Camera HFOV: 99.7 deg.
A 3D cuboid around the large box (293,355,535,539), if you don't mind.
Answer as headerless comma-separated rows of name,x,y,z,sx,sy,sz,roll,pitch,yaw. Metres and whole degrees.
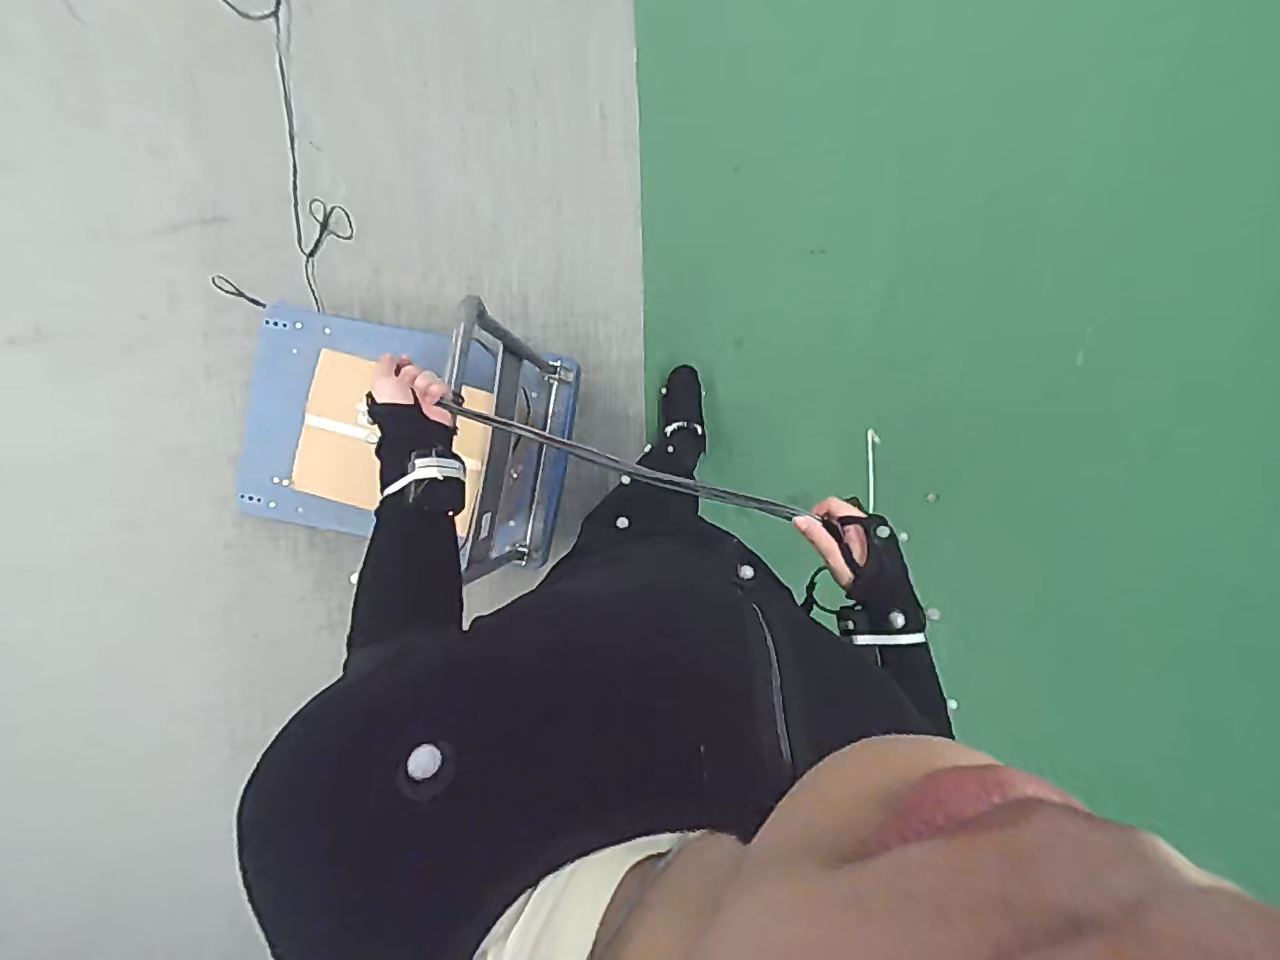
large box,-0.505,-0.075,1.285,0.408,0.320,0.320,15,92,2
